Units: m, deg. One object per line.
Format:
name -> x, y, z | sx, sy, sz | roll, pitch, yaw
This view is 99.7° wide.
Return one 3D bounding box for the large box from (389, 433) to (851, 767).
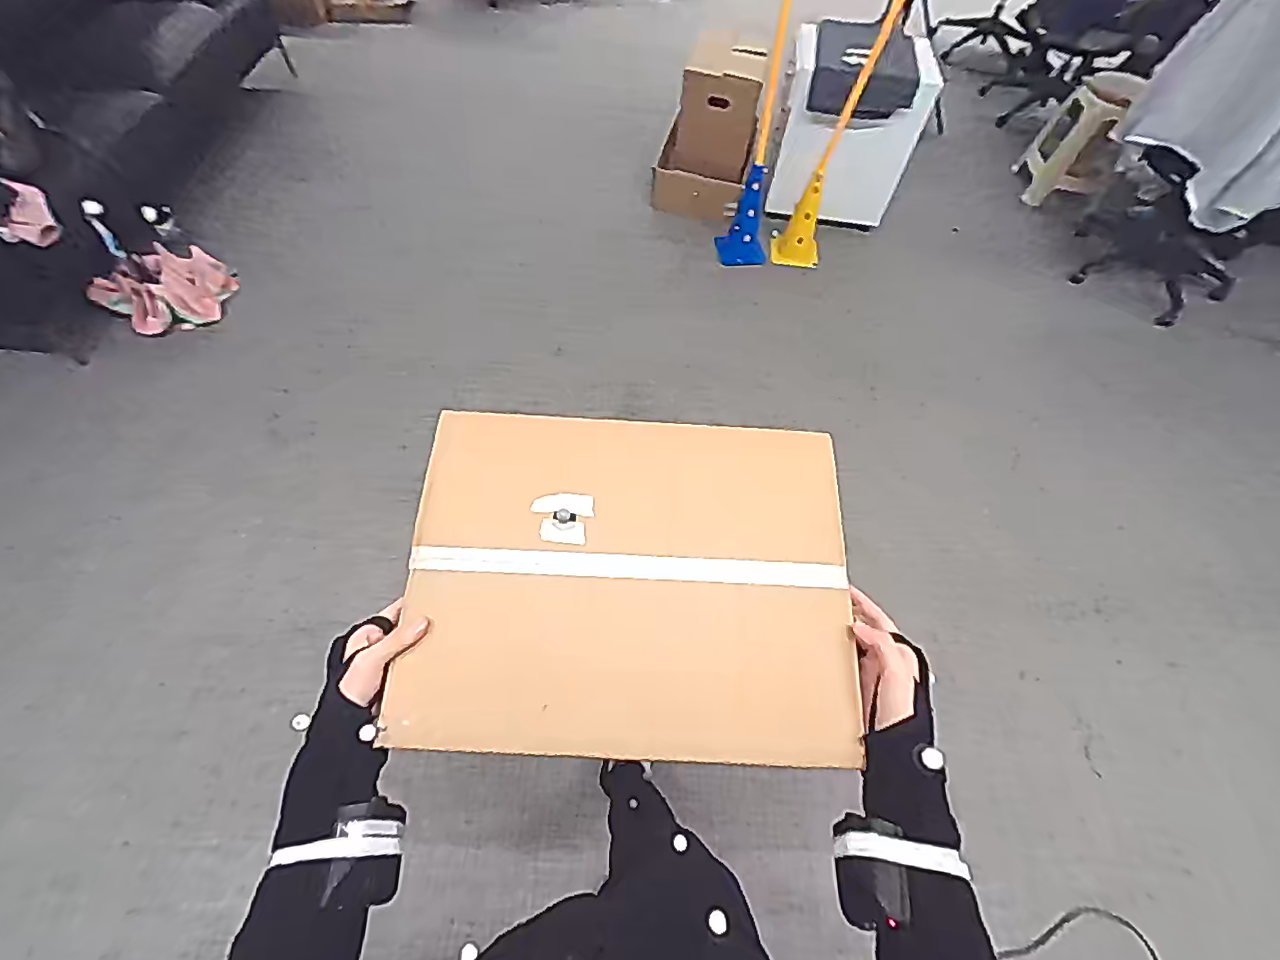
large box -> -0.015, 0.155, 0.654 | 0.408, 0.320, 0.320 | 3, 66, -1
